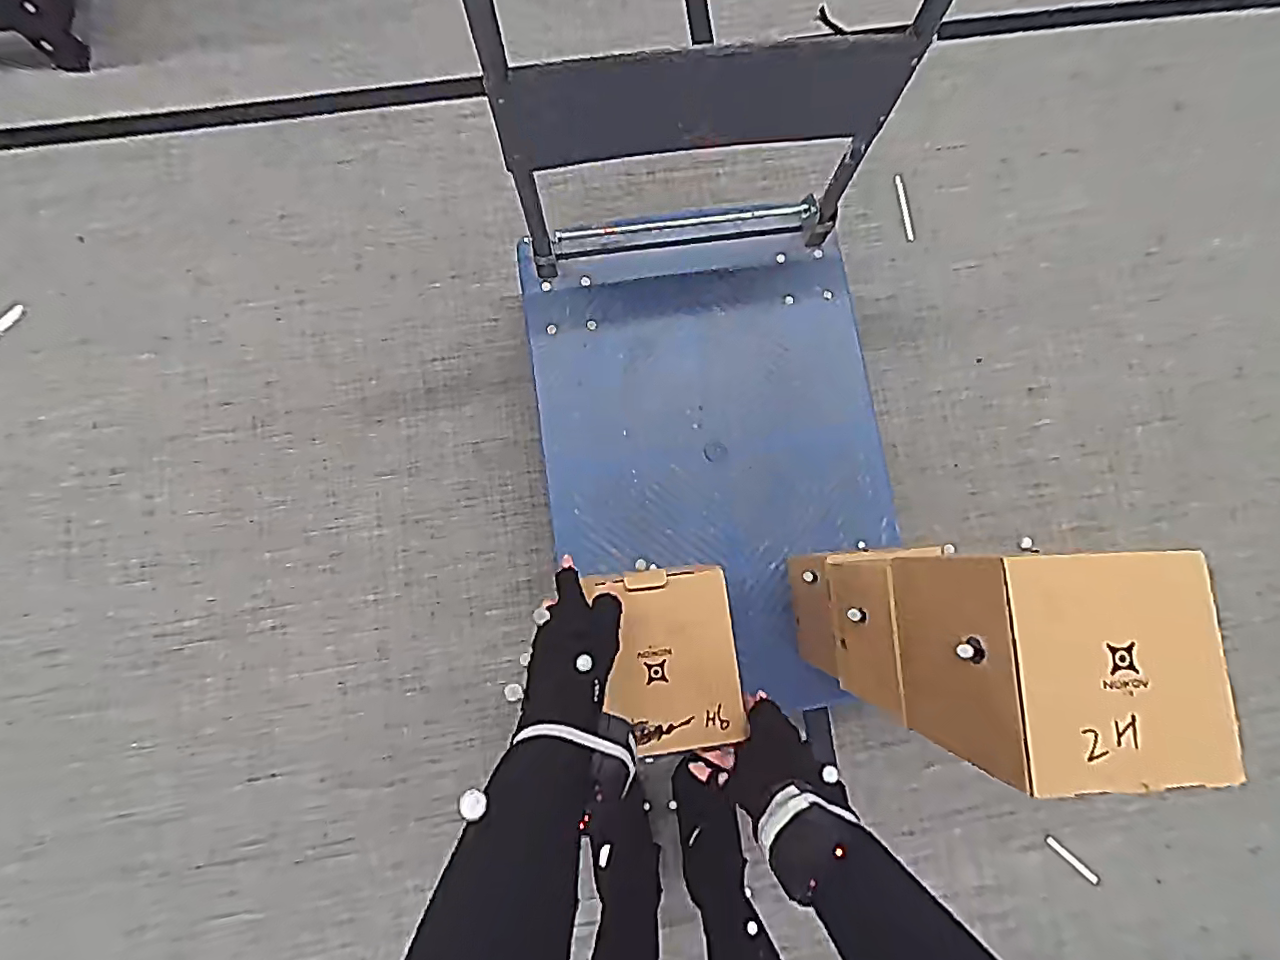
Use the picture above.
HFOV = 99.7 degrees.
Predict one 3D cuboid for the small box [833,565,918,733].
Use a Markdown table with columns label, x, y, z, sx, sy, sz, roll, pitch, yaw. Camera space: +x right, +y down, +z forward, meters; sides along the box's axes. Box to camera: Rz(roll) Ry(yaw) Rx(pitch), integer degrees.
| label | x | y | z | sx | sy | sz | roll | pitch | yaw |
| --- | --- | --- | --- | --- | --- | --- | --- | --- | --- |
| small box | 0.344 | 0.187 | 0.644 | 0.179 | 0.176 | 0.168 | -2 | 82 | -4 |

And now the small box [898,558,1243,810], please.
| label | x | y | z | sx | sy | sz | roll | pitch | yaw |
| --- | --- | --- | --- | --- | --- | --- | --- | --- | --- |
| small box | 0.352 | 0.161 | 0.481 | 0.168 | 0.176 | 0.179 | -1 | 82 | -3 |

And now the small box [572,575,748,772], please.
| label | x | y | z | sx | sy | sz | roll | pitch | yaw |
| --- | --- | --- | --- | --- | --- | --- | --- | --- | --- |
| small box | 0.014 | 0.206 | 0.624 | 0.168 | 0.176 | 0.179 | -6 | 81 | -3 |
